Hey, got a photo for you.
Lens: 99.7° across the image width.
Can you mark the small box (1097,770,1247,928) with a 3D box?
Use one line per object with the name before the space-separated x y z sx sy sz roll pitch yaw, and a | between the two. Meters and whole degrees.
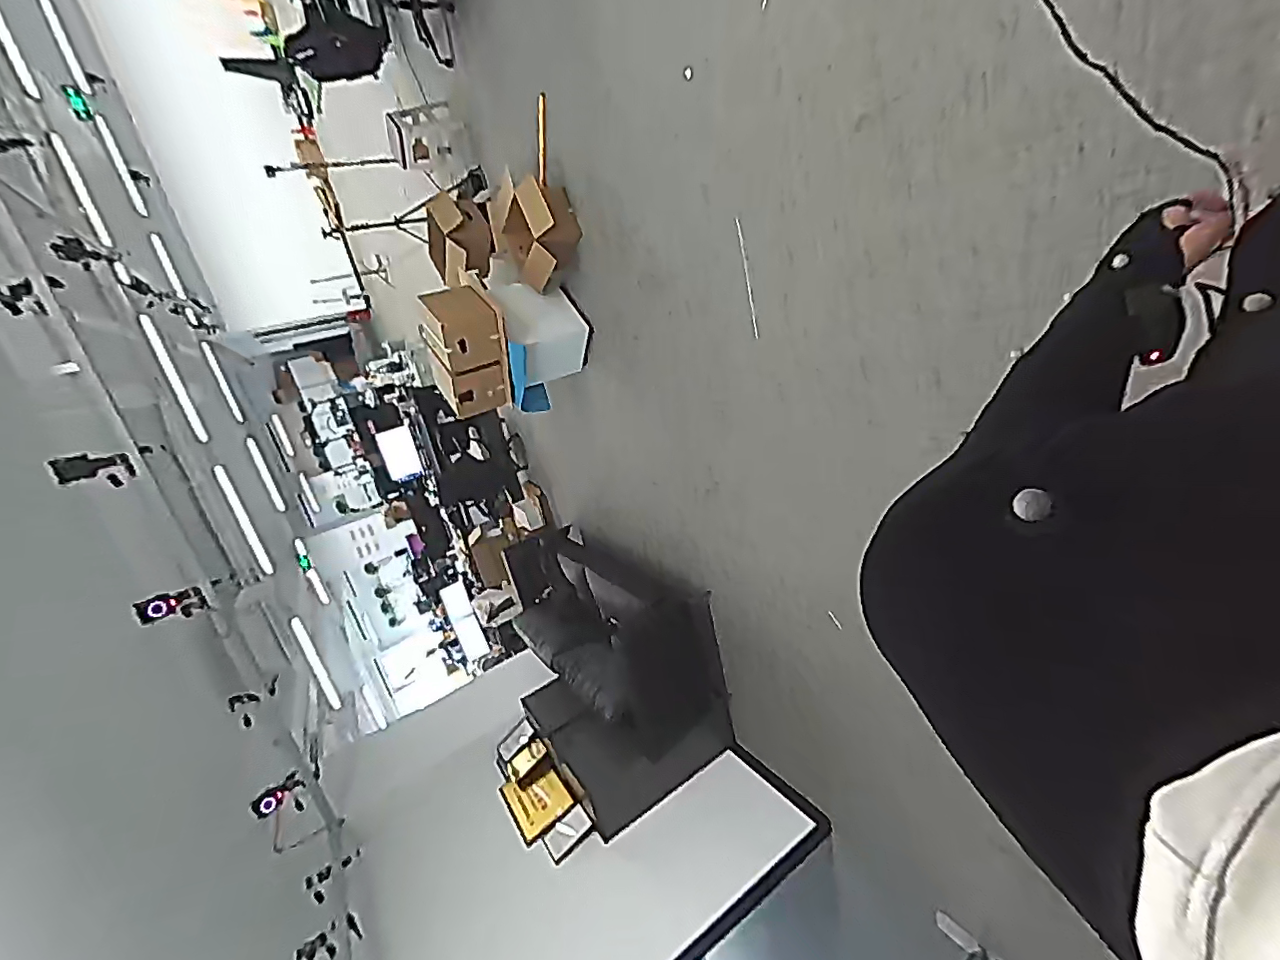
small box | 1.092 0.746 1.112 0.168 0.176 0.179 28 134 51
